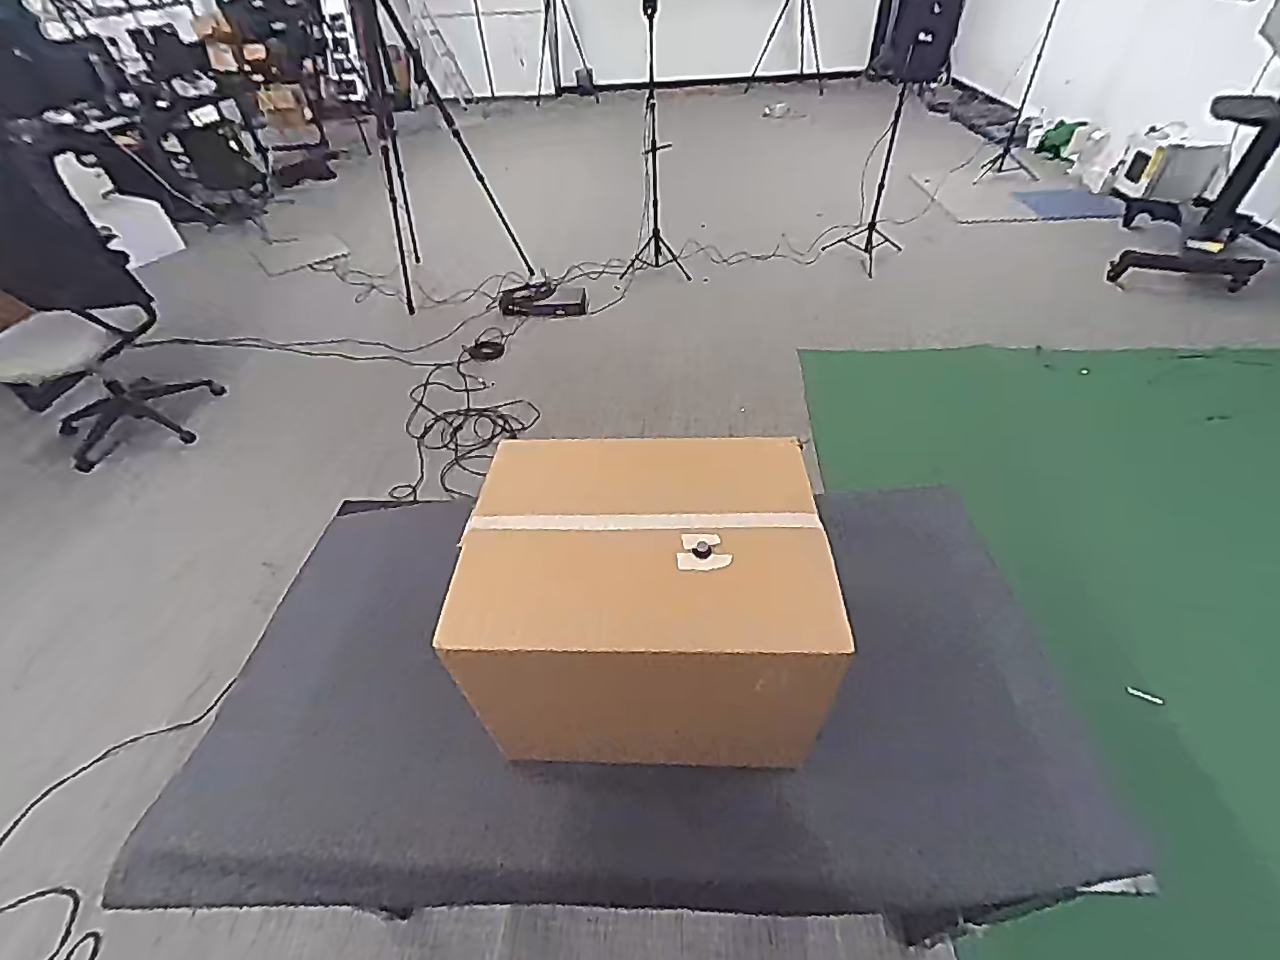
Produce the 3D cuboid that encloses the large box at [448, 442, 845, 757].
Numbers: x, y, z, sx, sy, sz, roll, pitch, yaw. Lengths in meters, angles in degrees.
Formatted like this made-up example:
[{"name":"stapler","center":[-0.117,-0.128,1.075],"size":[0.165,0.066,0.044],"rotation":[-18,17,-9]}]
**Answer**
[{"name":"large box","center":[0.011,0.164,0.740],"size":[0.408,0.320,0.320],"rotation":[0,45,3]}]
